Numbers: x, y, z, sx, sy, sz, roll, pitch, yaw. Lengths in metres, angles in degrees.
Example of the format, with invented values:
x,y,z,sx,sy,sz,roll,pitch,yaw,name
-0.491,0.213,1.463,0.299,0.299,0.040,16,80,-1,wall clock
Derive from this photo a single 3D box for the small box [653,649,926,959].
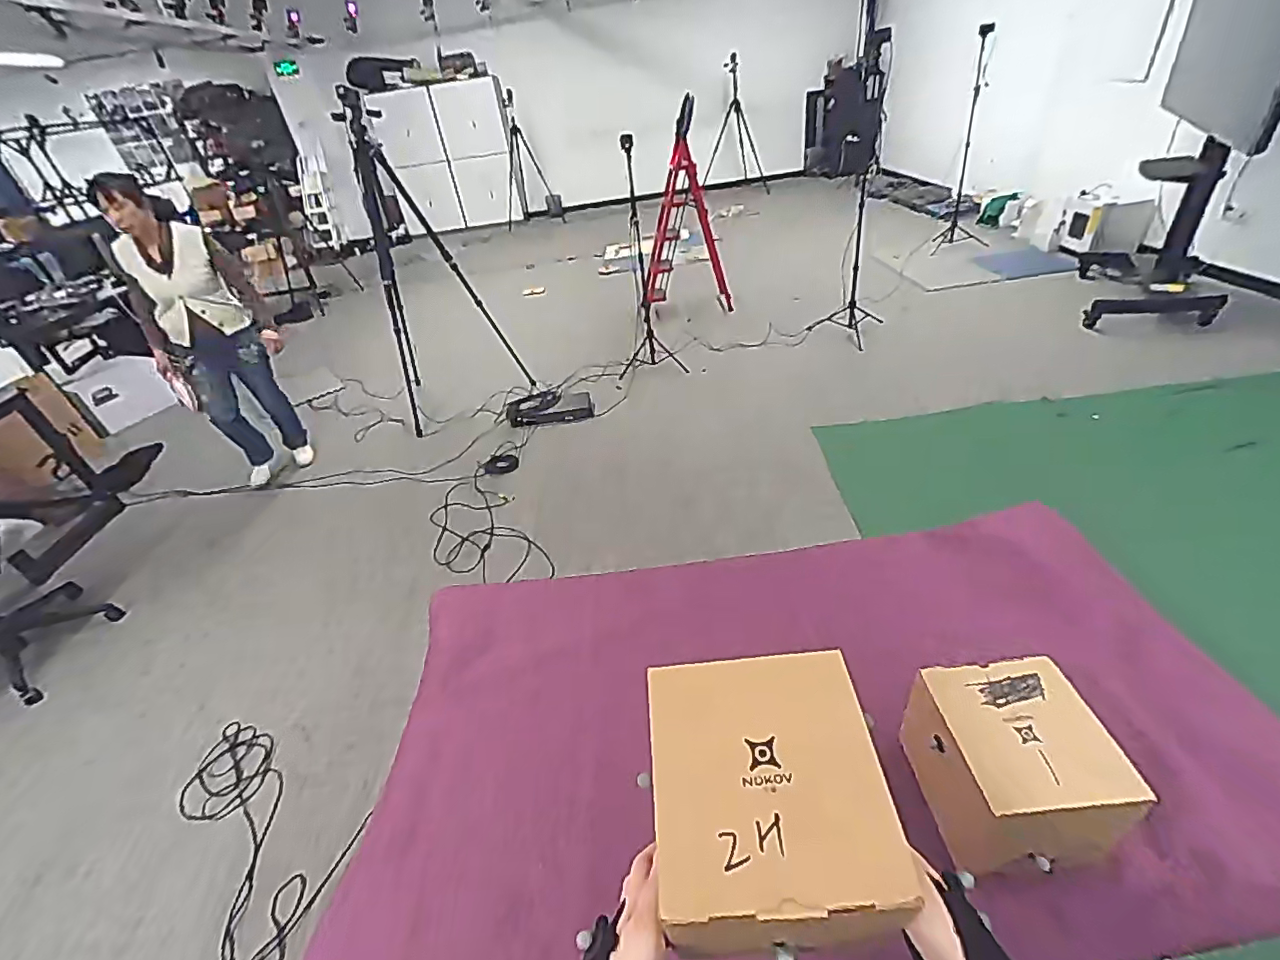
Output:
x,y,z,sx,sy,sz,roll,pitch,yaw,name
0.102,0.267,0.448,0.168,0.176,0.179,-7,41,4,small box

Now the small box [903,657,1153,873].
x,y,z,sx,sy,sz,roll,pitch,yaw,name
0.450,0.349,0.668,0.168,0.176,0.179,-7,36,3,small box
